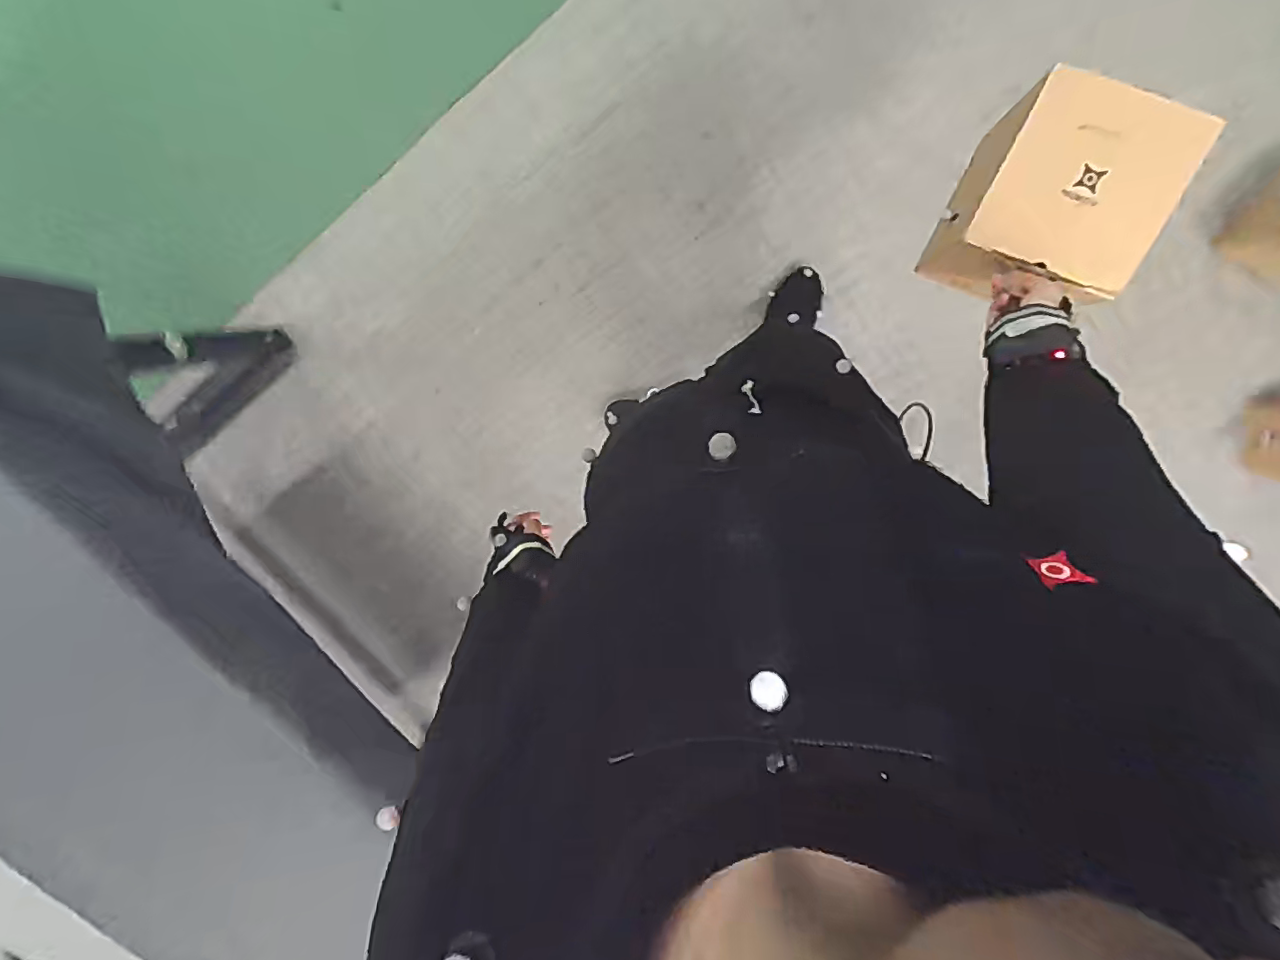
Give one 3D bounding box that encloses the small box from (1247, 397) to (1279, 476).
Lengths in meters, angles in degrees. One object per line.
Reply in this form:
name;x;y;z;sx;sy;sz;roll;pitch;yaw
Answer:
small box;1.496;-0.098;1.167;0.179;0.176;0.168;-15;107;8
